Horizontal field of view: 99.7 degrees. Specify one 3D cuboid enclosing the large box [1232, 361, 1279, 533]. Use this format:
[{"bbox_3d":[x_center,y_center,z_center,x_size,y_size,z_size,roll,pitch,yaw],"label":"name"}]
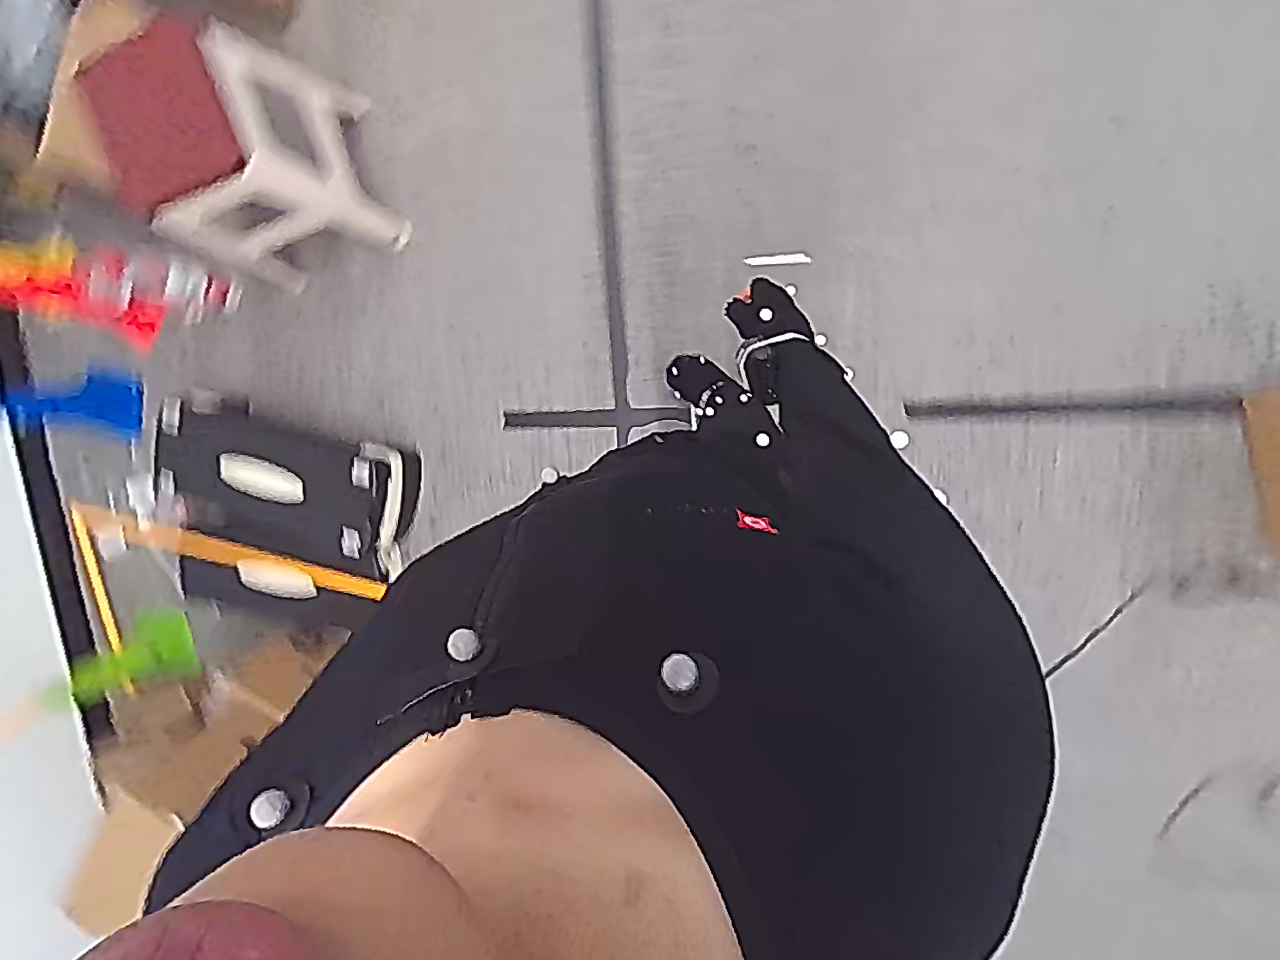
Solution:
[{"bbox_3d":[1.566,-0.083,1.114,0.320,0.320,0.408,-18,98,11],"label":"large box"}]
